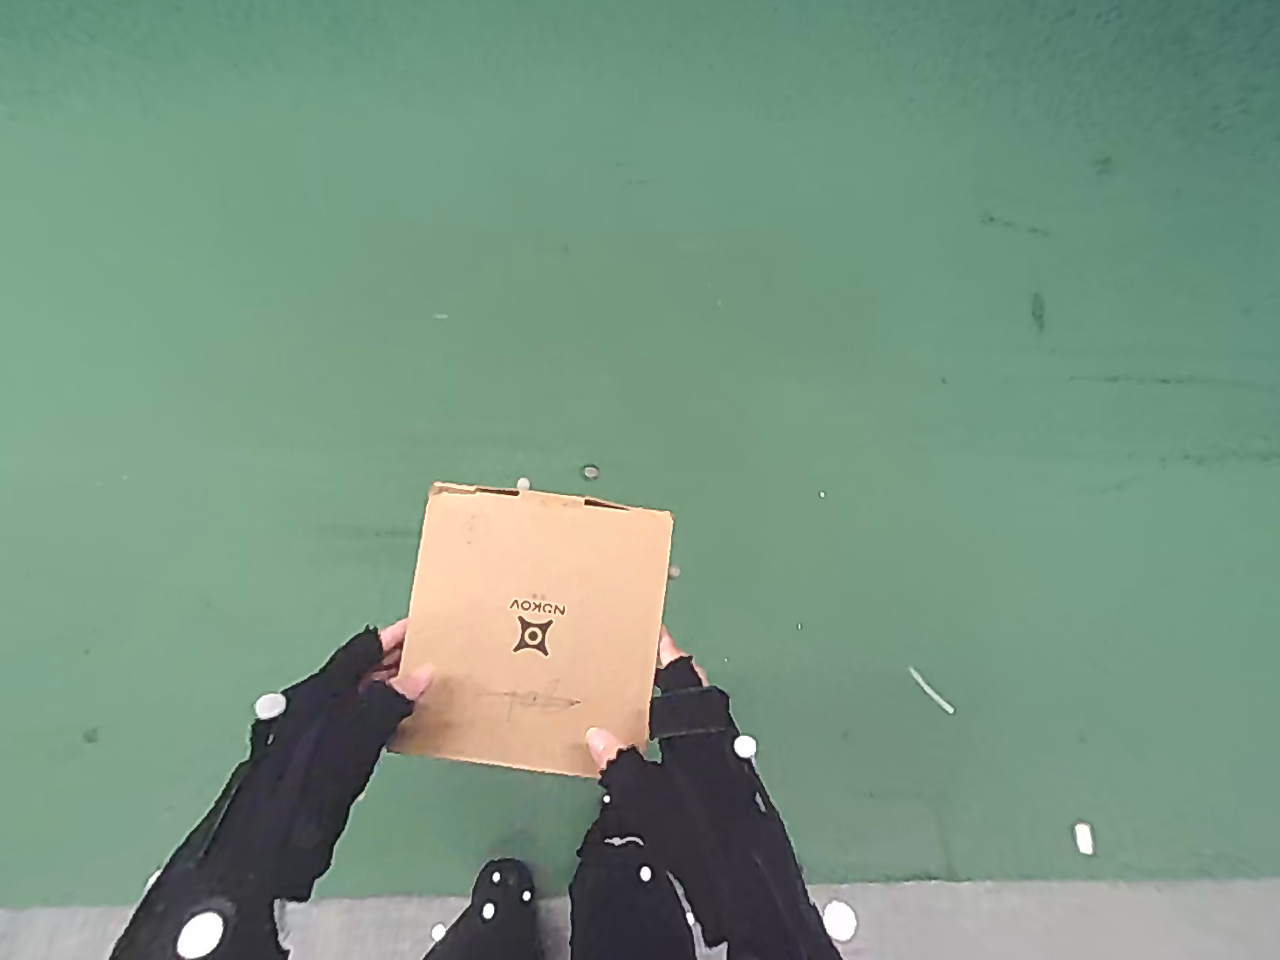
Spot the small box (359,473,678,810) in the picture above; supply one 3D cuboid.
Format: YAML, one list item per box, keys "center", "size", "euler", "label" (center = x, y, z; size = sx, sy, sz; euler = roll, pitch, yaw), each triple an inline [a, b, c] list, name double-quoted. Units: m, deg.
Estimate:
- center: [-0.070, 0.102, 0.400]
  size: [0.168, 0.176, 0.179]
  euler: [9, 84, 2]
  label: "small box"
